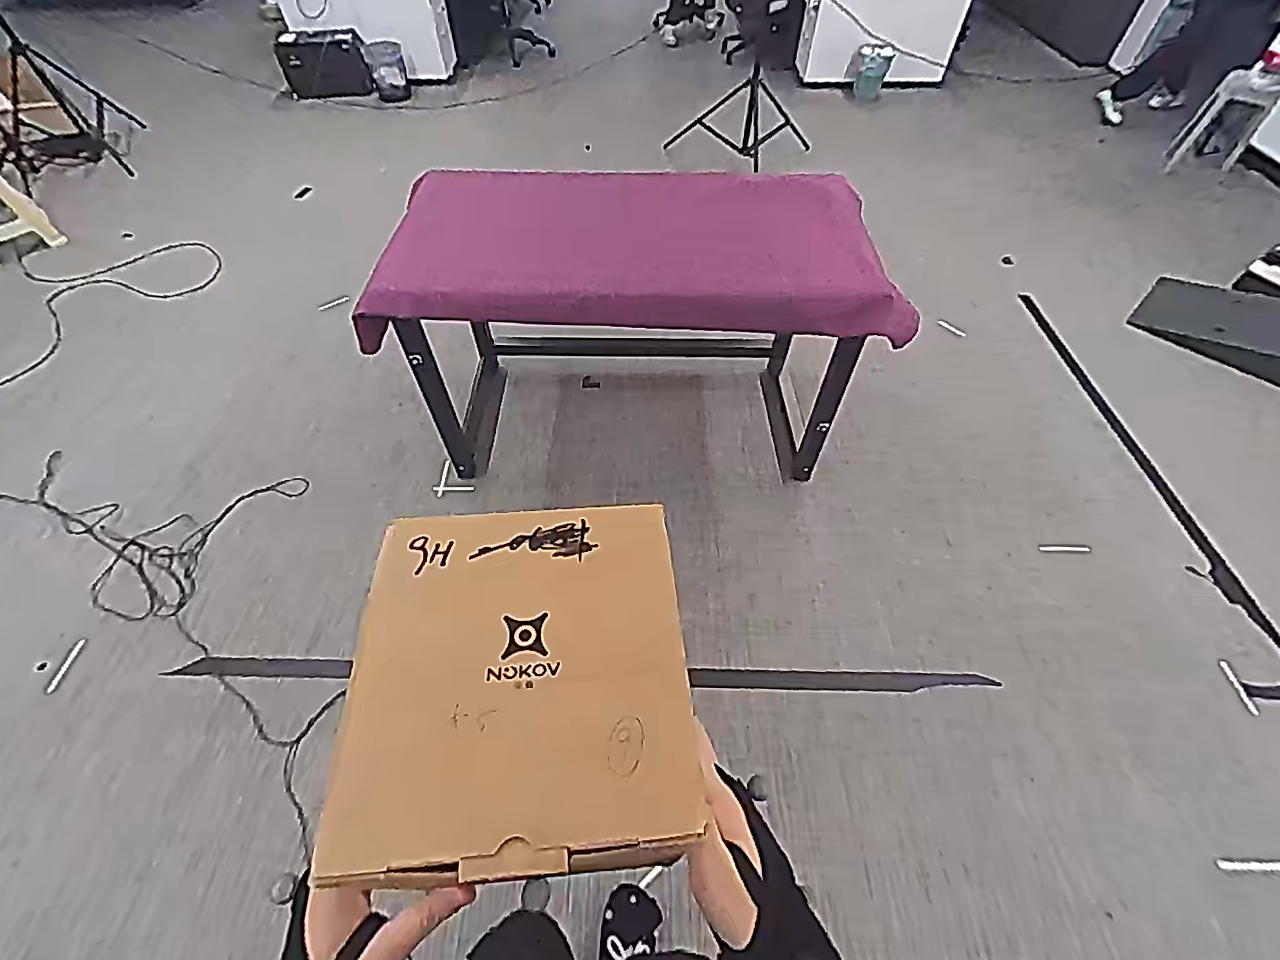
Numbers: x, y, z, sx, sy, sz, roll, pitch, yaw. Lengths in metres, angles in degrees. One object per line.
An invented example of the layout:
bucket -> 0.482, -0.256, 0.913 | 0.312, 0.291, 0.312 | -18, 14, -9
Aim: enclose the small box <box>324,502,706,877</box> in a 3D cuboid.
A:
small box -> -0.060, 0.135, 0.341 | 0.168, 0.176, 0.179 | -3, 53, -5
